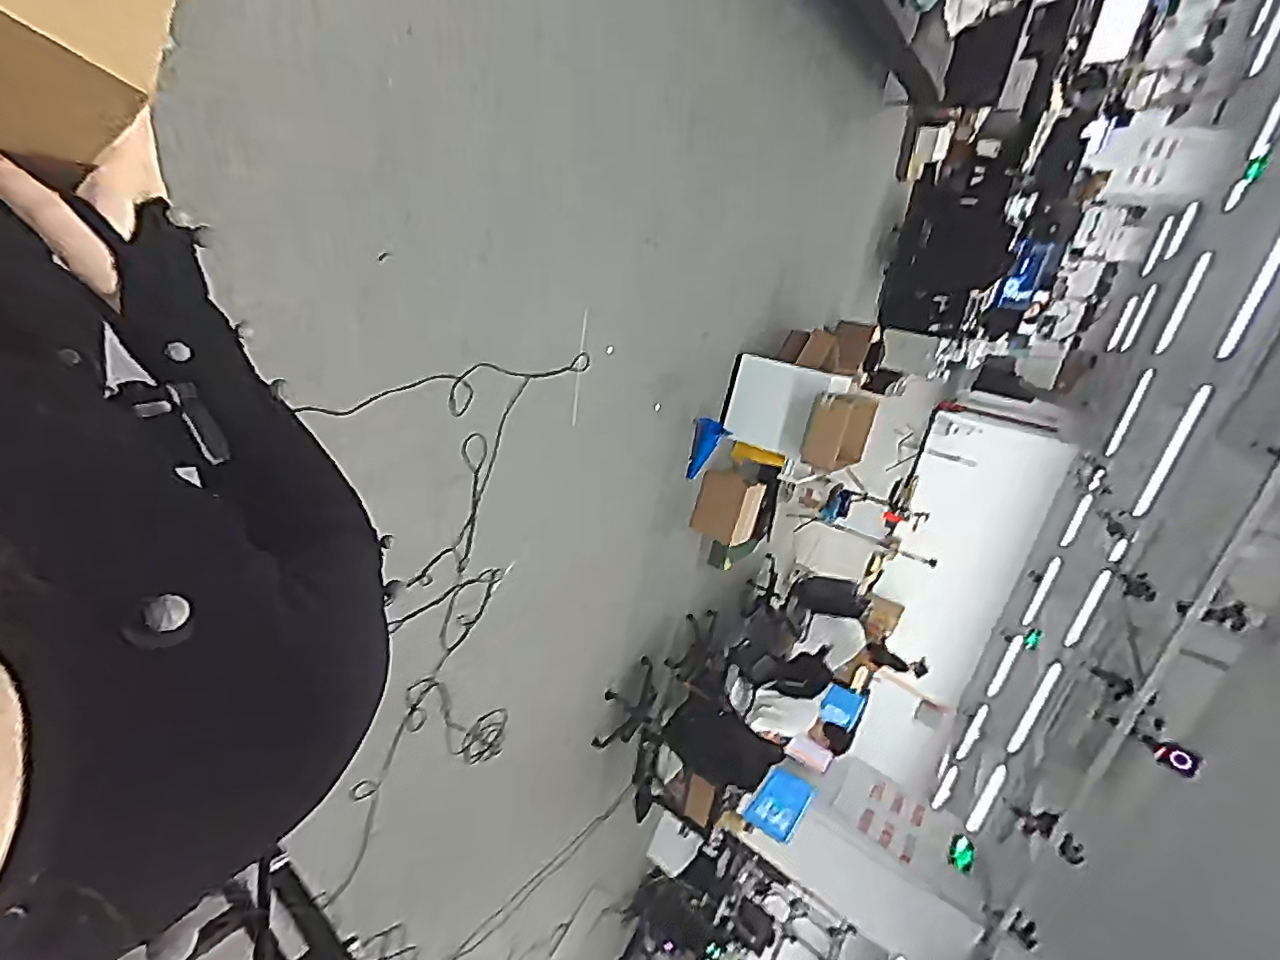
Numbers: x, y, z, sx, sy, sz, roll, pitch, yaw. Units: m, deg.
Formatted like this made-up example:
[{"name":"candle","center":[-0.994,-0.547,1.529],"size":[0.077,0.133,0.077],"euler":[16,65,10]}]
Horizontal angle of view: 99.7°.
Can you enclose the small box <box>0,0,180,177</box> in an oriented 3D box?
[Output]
[{"name":"small box","center":[-0.333,-0.285,0.247],"size":[0.168,0.176,0.179],"euler":[16,77,-55]}]
